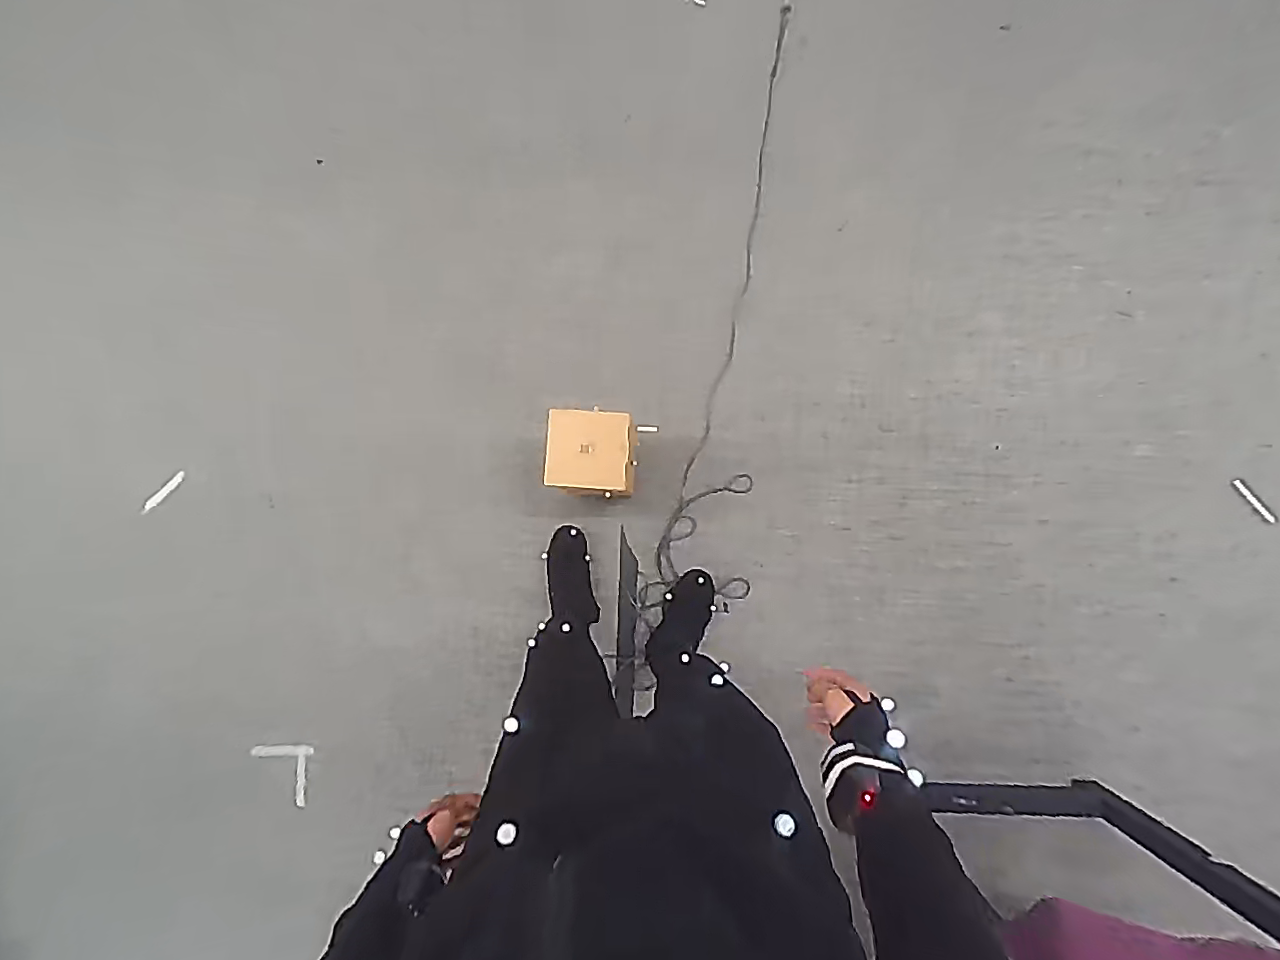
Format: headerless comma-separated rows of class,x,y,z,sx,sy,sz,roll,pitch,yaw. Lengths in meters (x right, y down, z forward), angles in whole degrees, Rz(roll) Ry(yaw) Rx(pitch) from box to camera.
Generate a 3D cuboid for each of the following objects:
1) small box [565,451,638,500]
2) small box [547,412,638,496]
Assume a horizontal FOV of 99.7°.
small box,-0.093,-0.041,1.382,0.168,0.176,0.179,2,86,4
small box,-0.101,-0.052,1.220,0.179,0.176,0.168,4,86,3
